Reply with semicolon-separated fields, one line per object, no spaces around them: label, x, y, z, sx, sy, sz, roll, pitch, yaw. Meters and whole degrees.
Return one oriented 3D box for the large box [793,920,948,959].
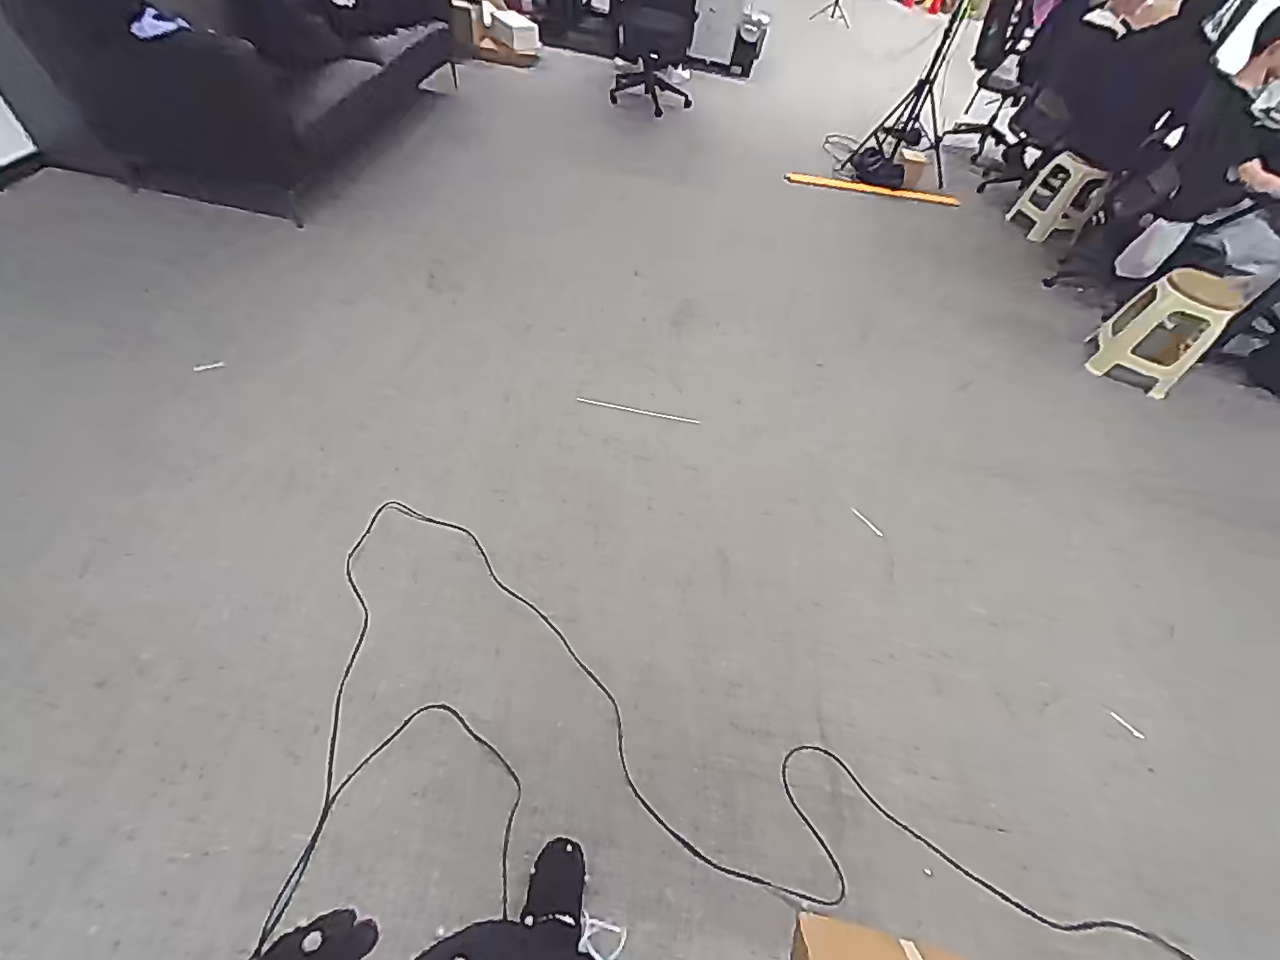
large box;0.337;0.817;0.590;0.320;0.408;0.320;13;84;8
